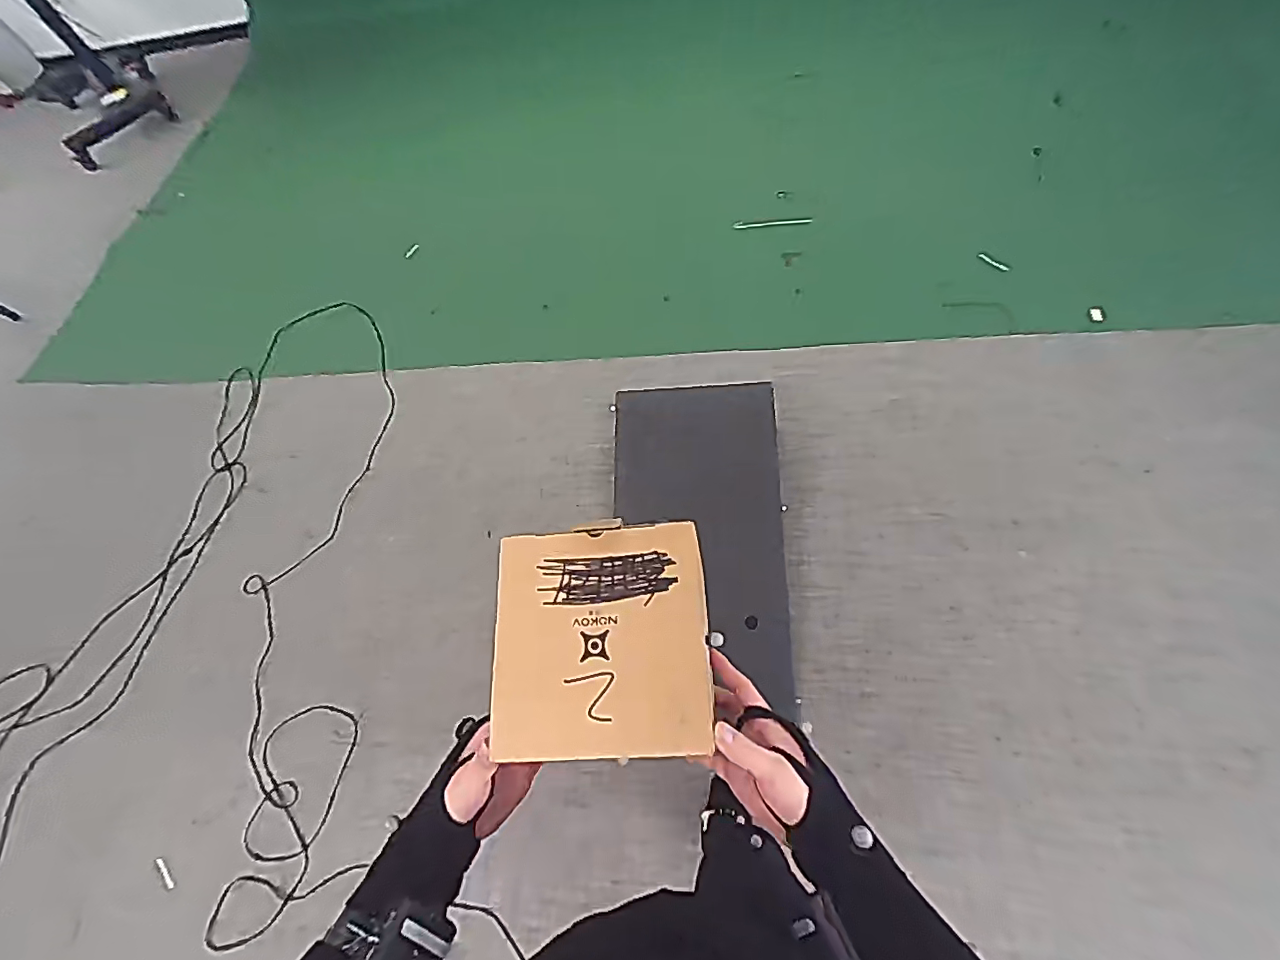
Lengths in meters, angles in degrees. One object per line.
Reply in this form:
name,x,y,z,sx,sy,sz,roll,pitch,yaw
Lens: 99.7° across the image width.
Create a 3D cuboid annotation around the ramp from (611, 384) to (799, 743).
ramp,0.166,0.195,1.535,0.509,0.206,0.991,-3,63,7
